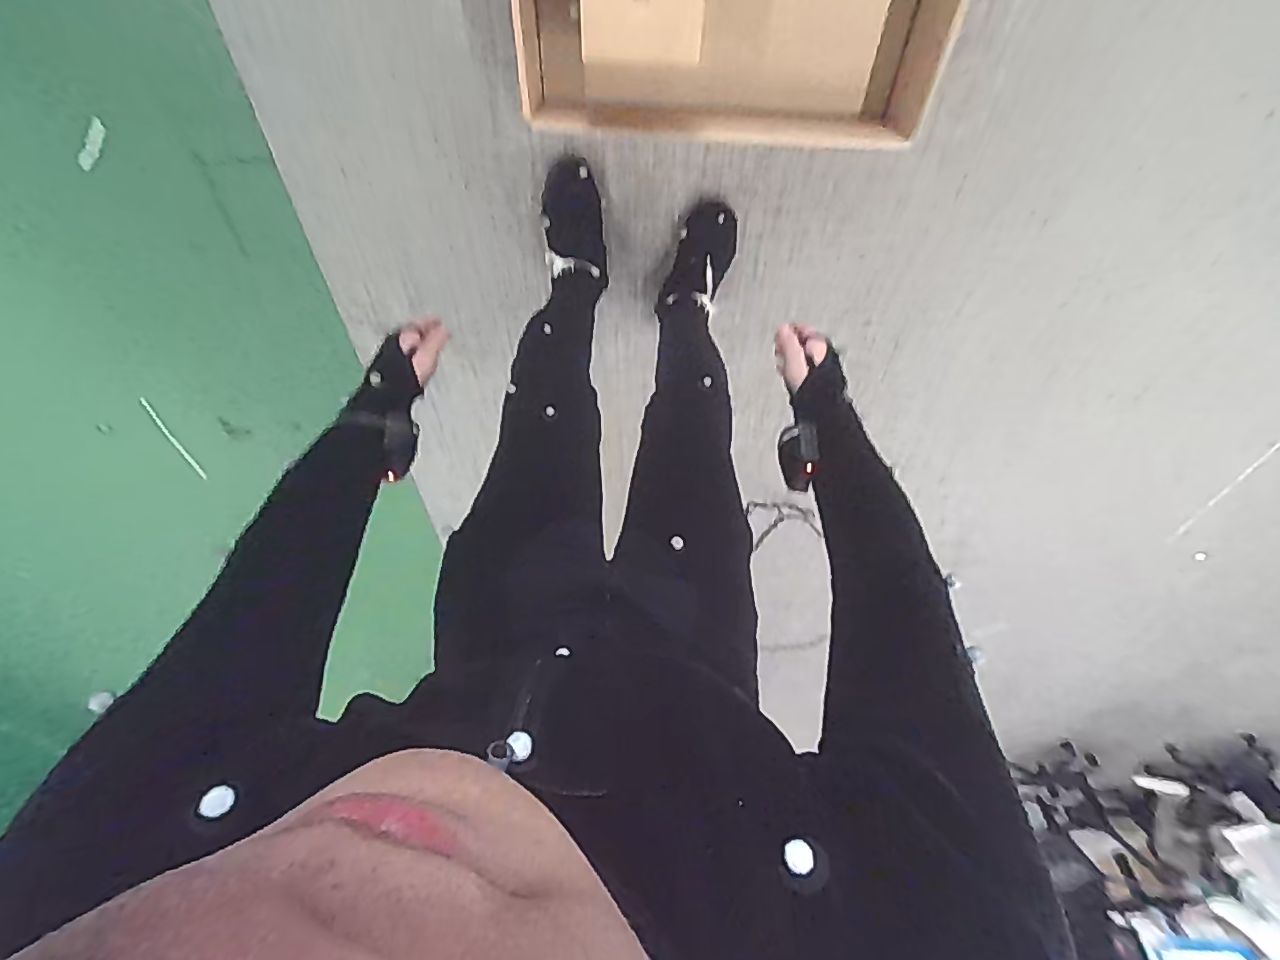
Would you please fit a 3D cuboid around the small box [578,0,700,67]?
[{"bbox_3d":[0.000,-0.708,0.758,0.168,0.176,0.179,1,137,-2],"label":"small box"}]
